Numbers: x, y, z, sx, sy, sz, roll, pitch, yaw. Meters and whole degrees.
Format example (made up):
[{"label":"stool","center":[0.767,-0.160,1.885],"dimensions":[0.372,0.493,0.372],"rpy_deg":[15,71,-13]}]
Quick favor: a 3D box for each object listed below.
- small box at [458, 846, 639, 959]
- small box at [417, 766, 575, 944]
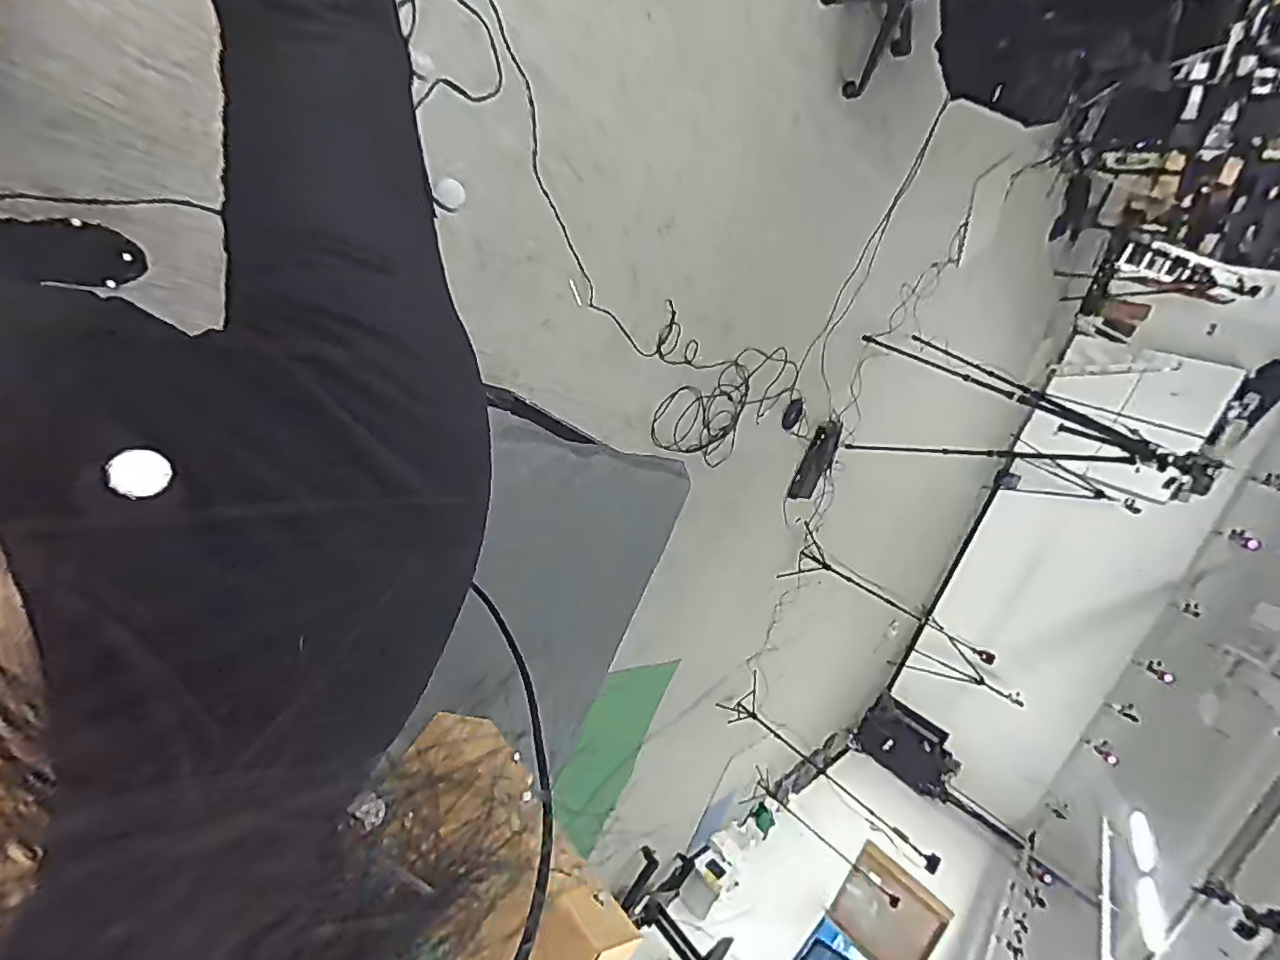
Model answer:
[{"label":"small box","center":[-0.138,0.695,0.824],"dimensions":[0.179,0.176,0.168],"rpy_deg":[-49,142,-12]},{"label":"small box","center":[-0.250,0.631,0.922],"dimensions":[0.179,0.176,0.168],"rpy_deg":[-48,142,-14]}]
